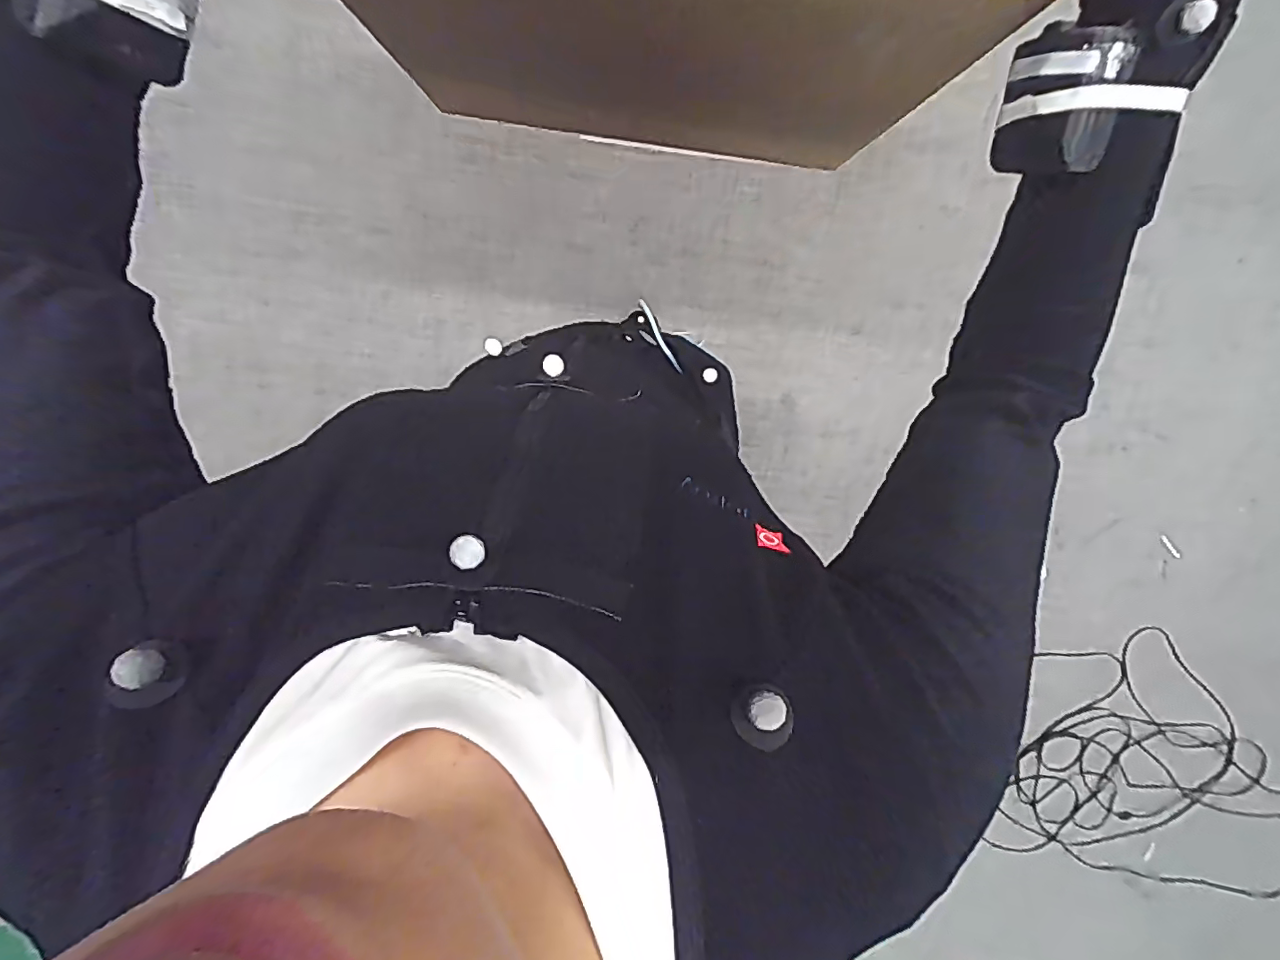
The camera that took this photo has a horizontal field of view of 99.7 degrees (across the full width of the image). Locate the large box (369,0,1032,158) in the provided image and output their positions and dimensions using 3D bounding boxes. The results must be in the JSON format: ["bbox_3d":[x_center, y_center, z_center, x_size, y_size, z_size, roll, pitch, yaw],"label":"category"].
[{"bbox_3d":[0.028,-0.451,0.363,0.408,0.320,0.320,6,106,-4],"label":"large box"}]
